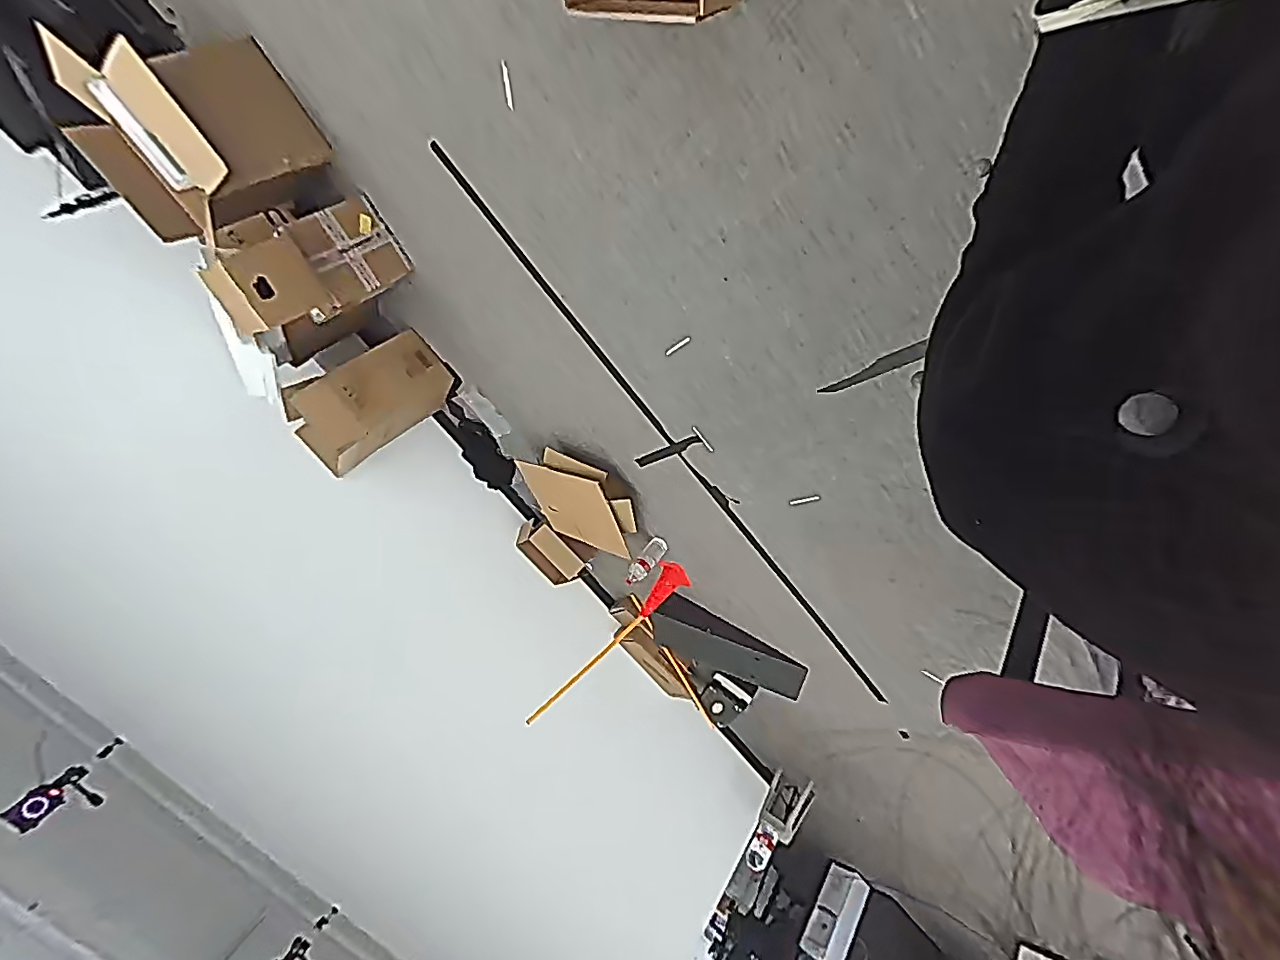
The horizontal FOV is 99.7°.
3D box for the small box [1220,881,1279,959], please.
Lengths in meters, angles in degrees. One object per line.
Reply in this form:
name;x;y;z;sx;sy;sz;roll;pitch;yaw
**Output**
small box;1.195;0.883;0.974;0.179;0.176;0.168;51;148;-12
